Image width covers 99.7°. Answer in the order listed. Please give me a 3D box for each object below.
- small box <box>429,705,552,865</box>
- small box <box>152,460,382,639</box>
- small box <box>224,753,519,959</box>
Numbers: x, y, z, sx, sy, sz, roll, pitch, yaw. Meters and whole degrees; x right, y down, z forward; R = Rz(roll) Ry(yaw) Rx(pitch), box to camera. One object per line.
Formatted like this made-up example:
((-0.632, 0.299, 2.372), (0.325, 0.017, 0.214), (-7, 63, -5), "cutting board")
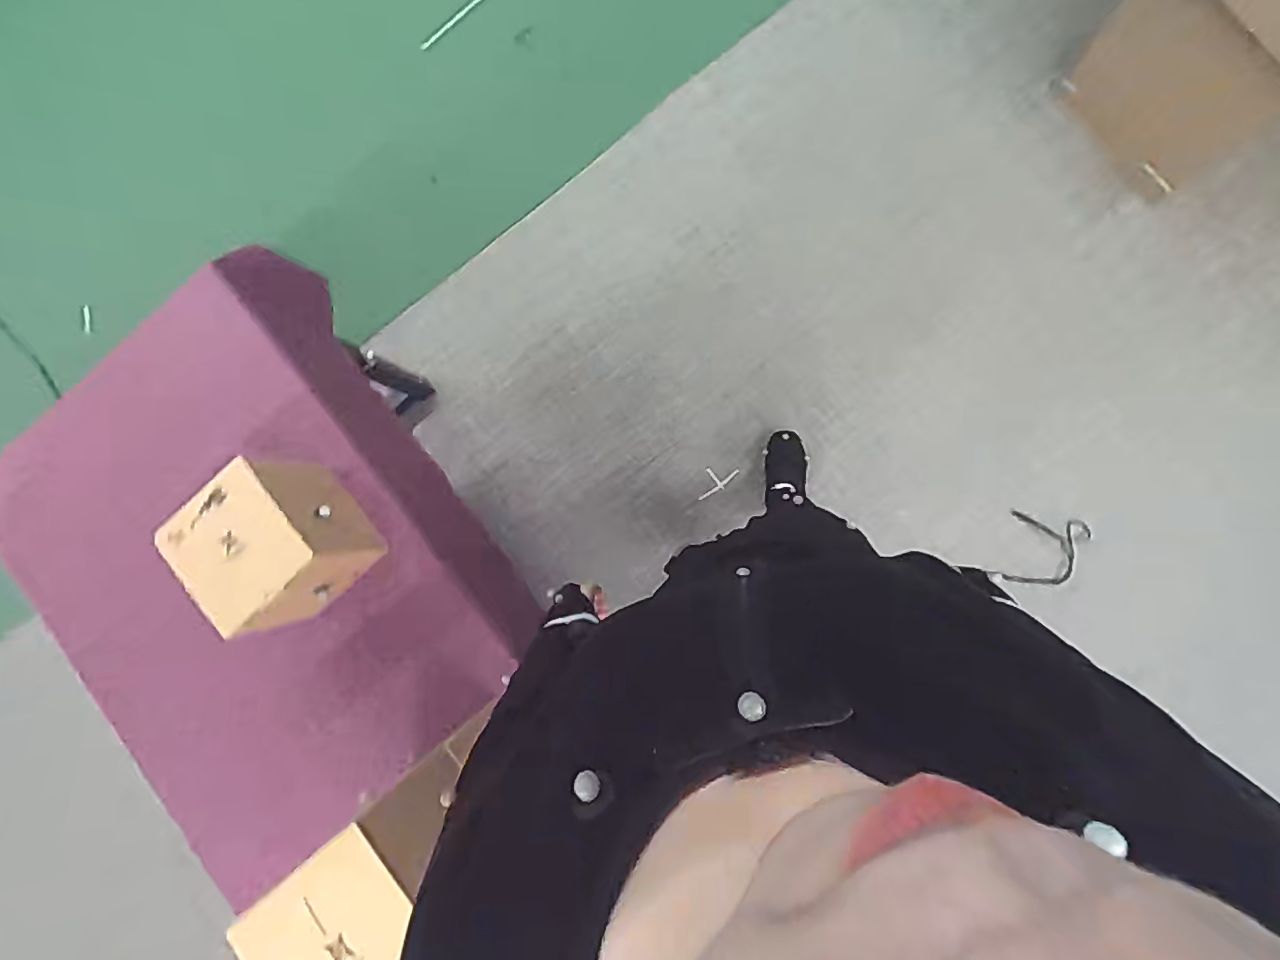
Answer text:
((-0.237, 0.436, 0.720), (0.179, 0.176, 0.168), (-41, 82, 3), "small box")
((-0.515, 0.091, 0.774), (0.168, 0.176, 0.179), (-41, 84, 3), "small box")
((-0.255, 0.427, 0.556), (0.168, 0.176, 0.179), (-41, 82, 3), "small box")
